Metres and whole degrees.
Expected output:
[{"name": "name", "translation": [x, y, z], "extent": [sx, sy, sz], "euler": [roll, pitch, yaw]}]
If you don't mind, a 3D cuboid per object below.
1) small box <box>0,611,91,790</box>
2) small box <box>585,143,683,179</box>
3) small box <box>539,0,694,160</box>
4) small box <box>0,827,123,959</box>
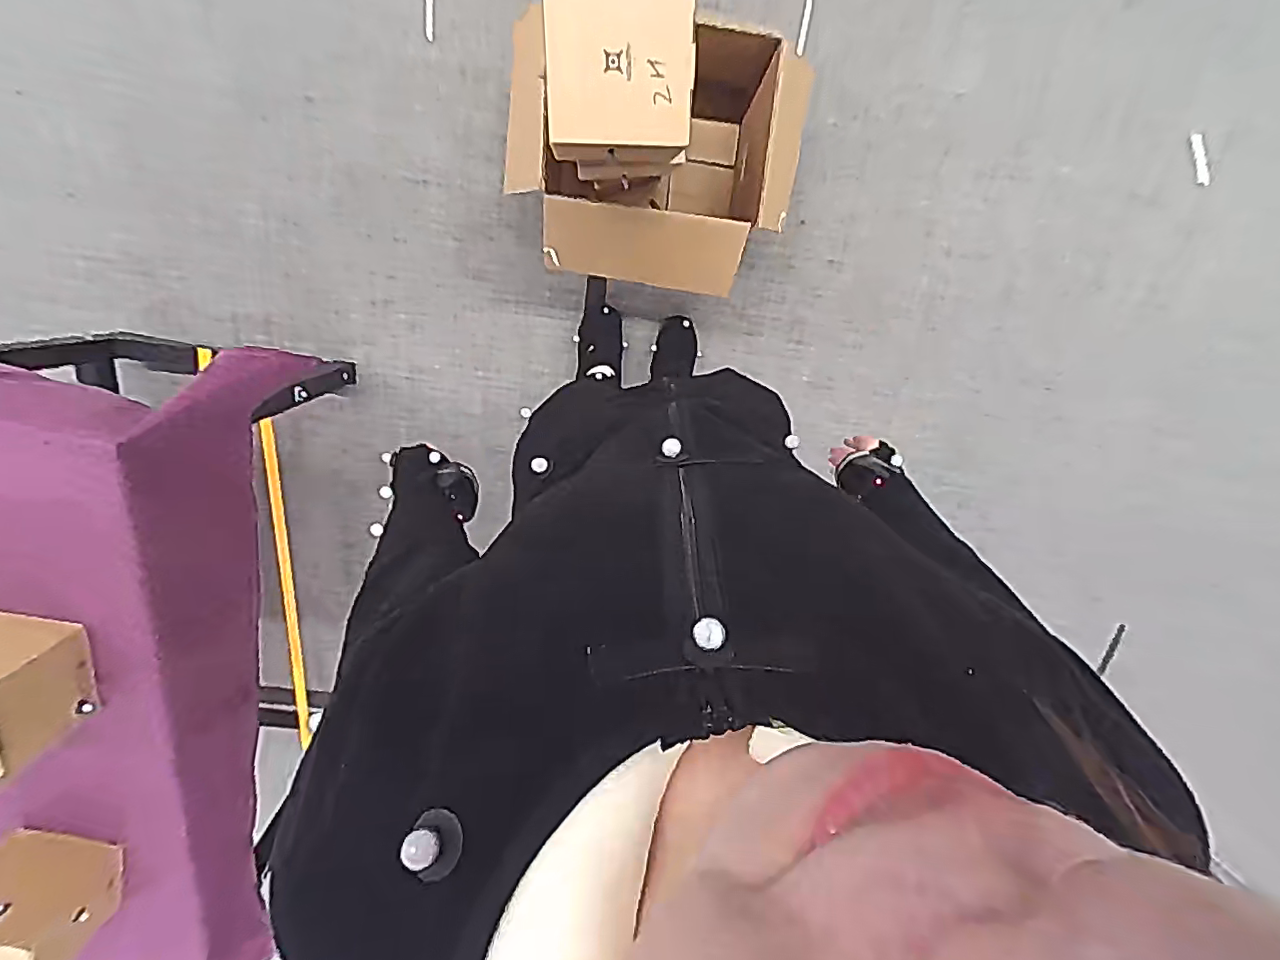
[{"name": "small box", "translation": [-0.921, 0.299, 0.748], "extent": [0.179, 0.176, 0.168], "euler": [11, 110, -5]}, {"name": "small box", "translation": [-0.030, -0.672, 0.998], "extent": [0.179, 0.176, 0.168], "euler": [-14, 114, 0]}, {"name": "small box", "translation": [-0.033, -0.522, 0.704], "extent": [0.179, 0.176, 0.168], "euler": [-1, 115, -5]}, {"name": "small box", "translation": [-1.027, 0.723, 0.905], "extent": [0.179, 0.176, 0.168], "euler": [18, 108, -8]}]
